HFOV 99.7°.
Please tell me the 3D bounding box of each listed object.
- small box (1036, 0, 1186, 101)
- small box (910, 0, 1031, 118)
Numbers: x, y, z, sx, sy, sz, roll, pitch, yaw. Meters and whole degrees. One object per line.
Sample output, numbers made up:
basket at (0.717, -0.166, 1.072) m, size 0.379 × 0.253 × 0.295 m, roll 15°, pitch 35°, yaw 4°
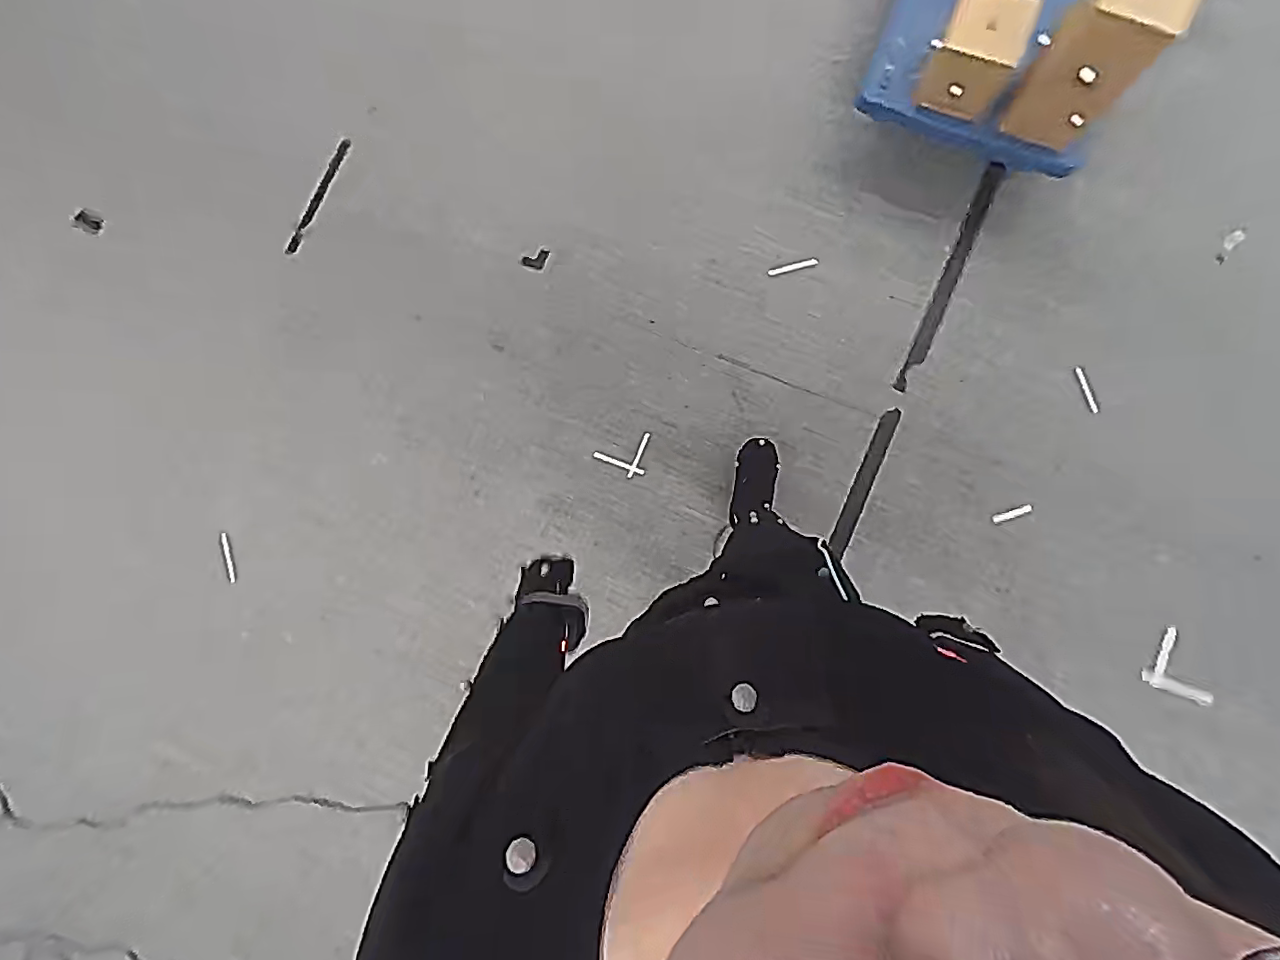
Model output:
small box at (0.967, -0.942, 1.111) m, size 0.168 × 0.176 × 0.179 m, roll 24°, pitch 88°, yaw 5°
small box at (0.778, -1.019, 1.295) m, size 0.168 × 0.176 × 0.179 m, roll 21°, pitch 86°, yaw 4°
